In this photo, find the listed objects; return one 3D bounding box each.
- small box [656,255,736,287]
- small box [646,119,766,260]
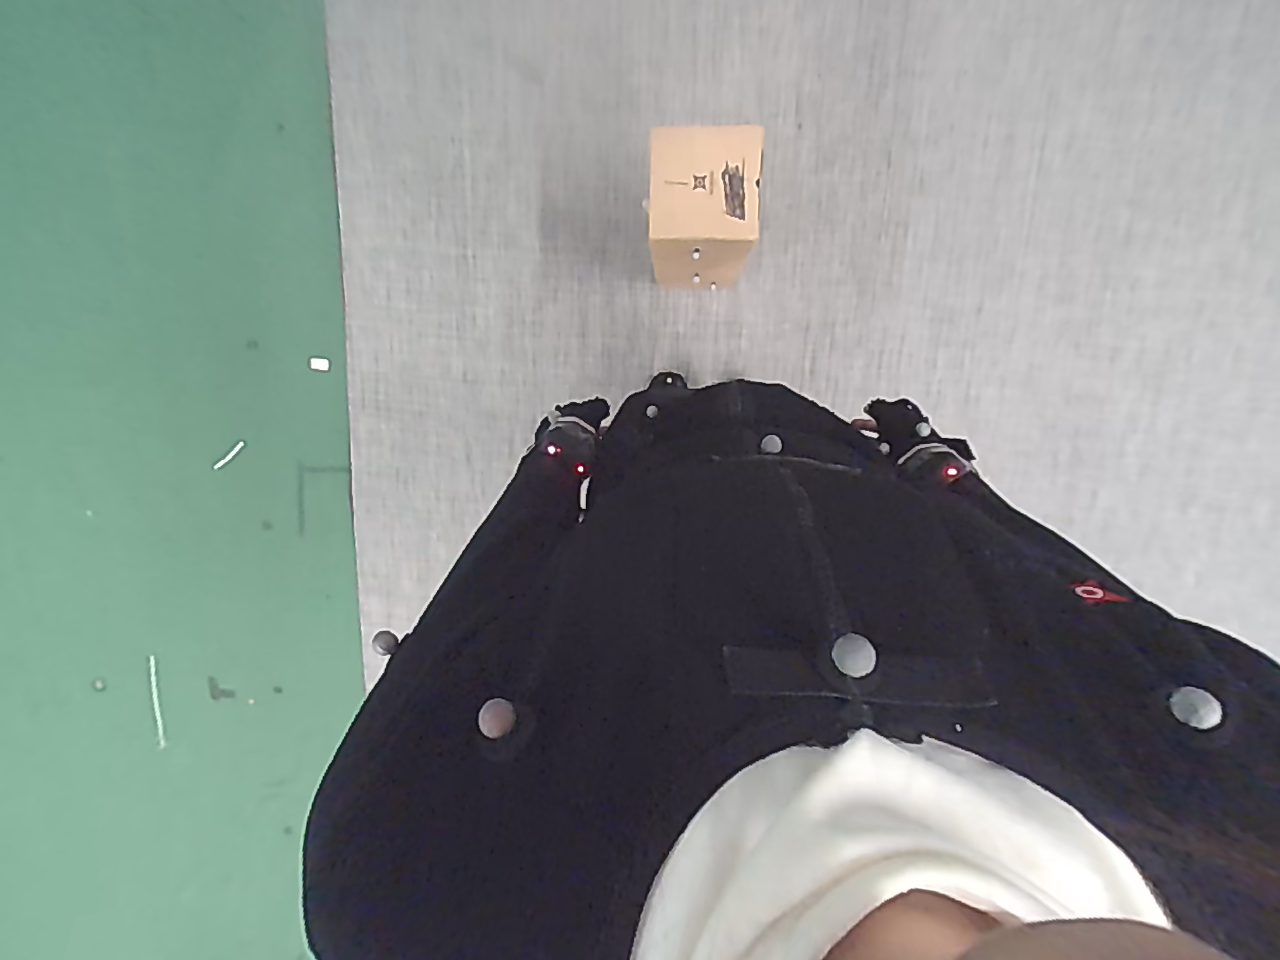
[{"bbox_3d":[0.129,-0.545,1.247,0.179,0.176,0.168,2,100,5],"label":"small box"},{"bbox_3d":[0.105,-0.482,0.923,0.179,0.176,0.168,5,99,2],"label":"small box"}]
